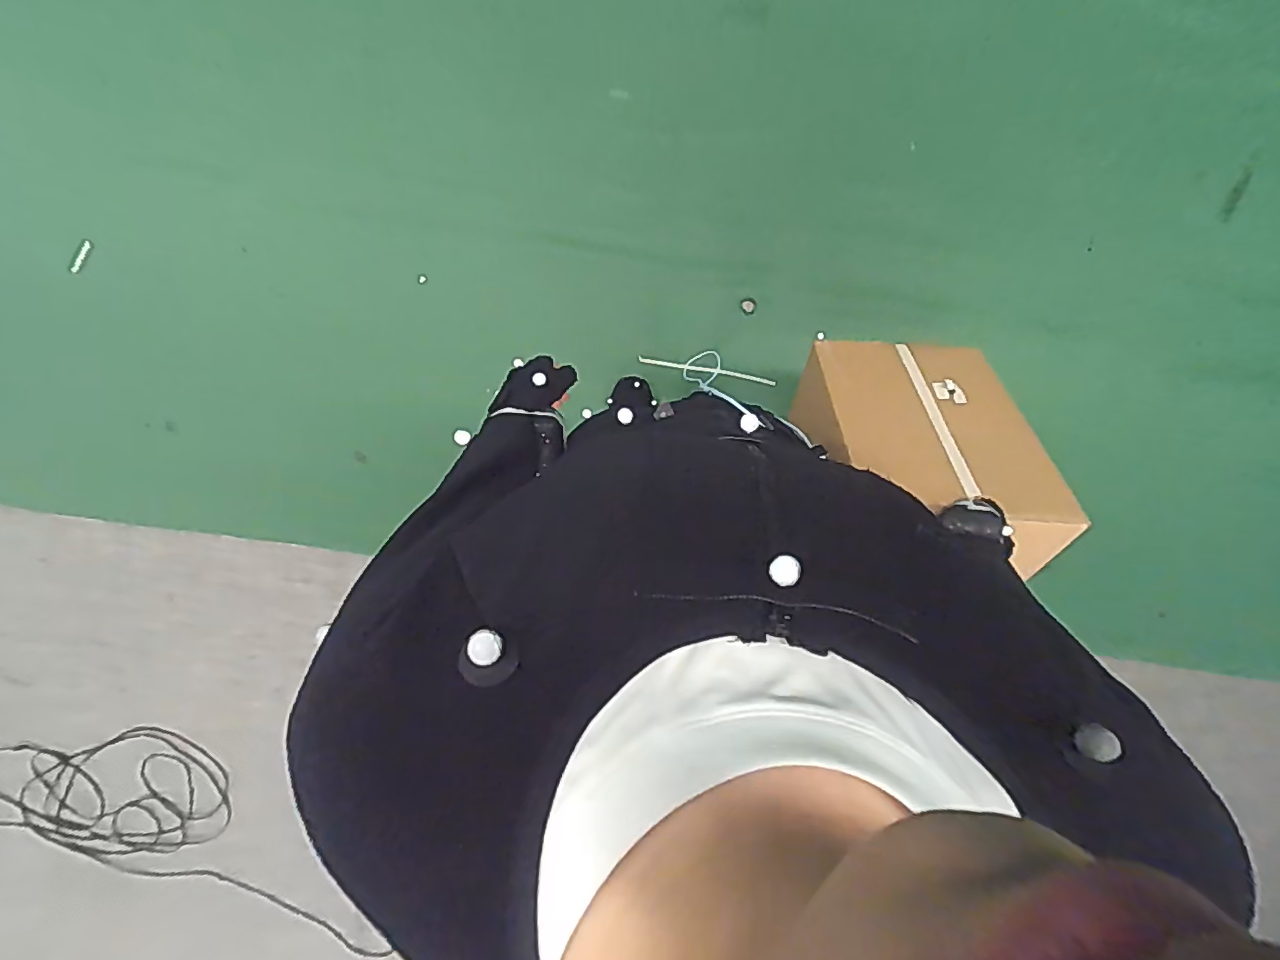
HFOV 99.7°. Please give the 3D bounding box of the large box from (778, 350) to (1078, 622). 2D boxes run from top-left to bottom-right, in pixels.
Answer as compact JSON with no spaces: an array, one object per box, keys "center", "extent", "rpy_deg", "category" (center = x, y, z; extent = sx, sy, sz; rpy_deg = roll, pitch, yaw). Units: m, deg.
[{"center":[0.464,0.010,0.995],"extent":[0.320,0.408,0.320],"rpy_deg":[3,138,-1],"category":"large box"}]
